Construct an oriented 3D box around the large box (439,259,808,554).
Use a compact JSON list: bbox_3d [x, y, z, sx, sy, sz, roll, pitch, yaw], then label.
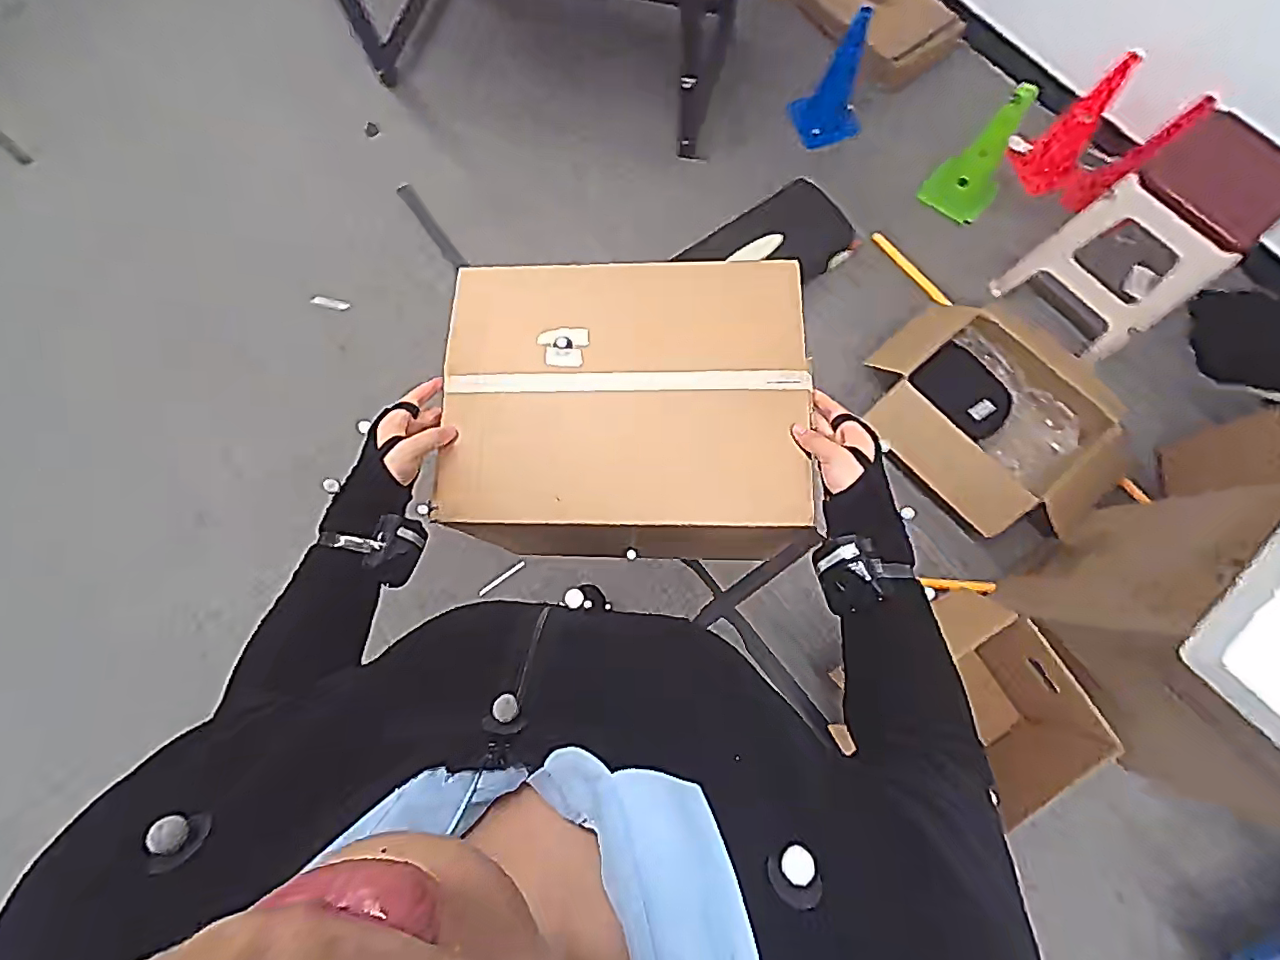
[{"bbox_3d":[-0.011,-0.069,0.755,0.408,0.320,0.320,-1,74,4],"label":"large box"}]
